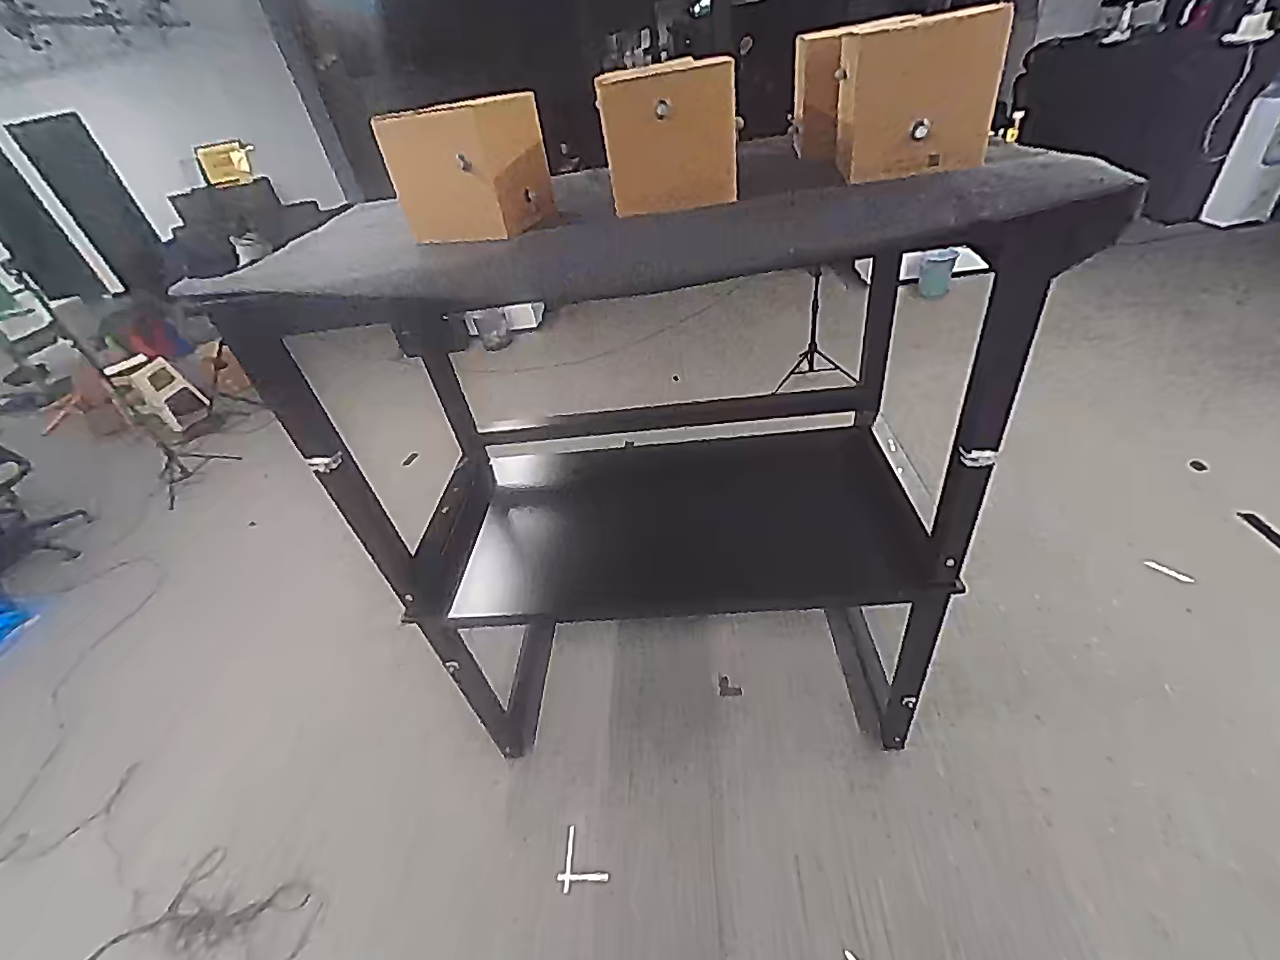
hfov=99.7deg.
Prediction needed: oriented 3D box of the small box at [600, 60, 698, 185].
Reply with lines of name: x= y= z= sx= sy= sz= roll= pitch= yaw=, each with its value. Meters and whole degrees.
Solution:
small box: x=0.029 y=-0.651 z=0.992 sx=0.168 sy=0.176 sz=0.179 roll=-5 pitch=39 yaw=8

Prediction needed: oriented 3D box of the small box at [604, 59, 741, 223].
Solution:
small box: x=0.054 y=-0.496 z=0.794 sx=0.179 sy=0.176 sz=0.168 roll=-5 pitch=38 yaw=7

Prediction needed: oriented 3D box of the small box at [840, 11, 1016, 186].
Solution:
small box: x=0.374 y=-0.518 z=0.744 sx=0.168 sy=0.176 sz=0.179 roll=-1 pitch=39 yaw=13
